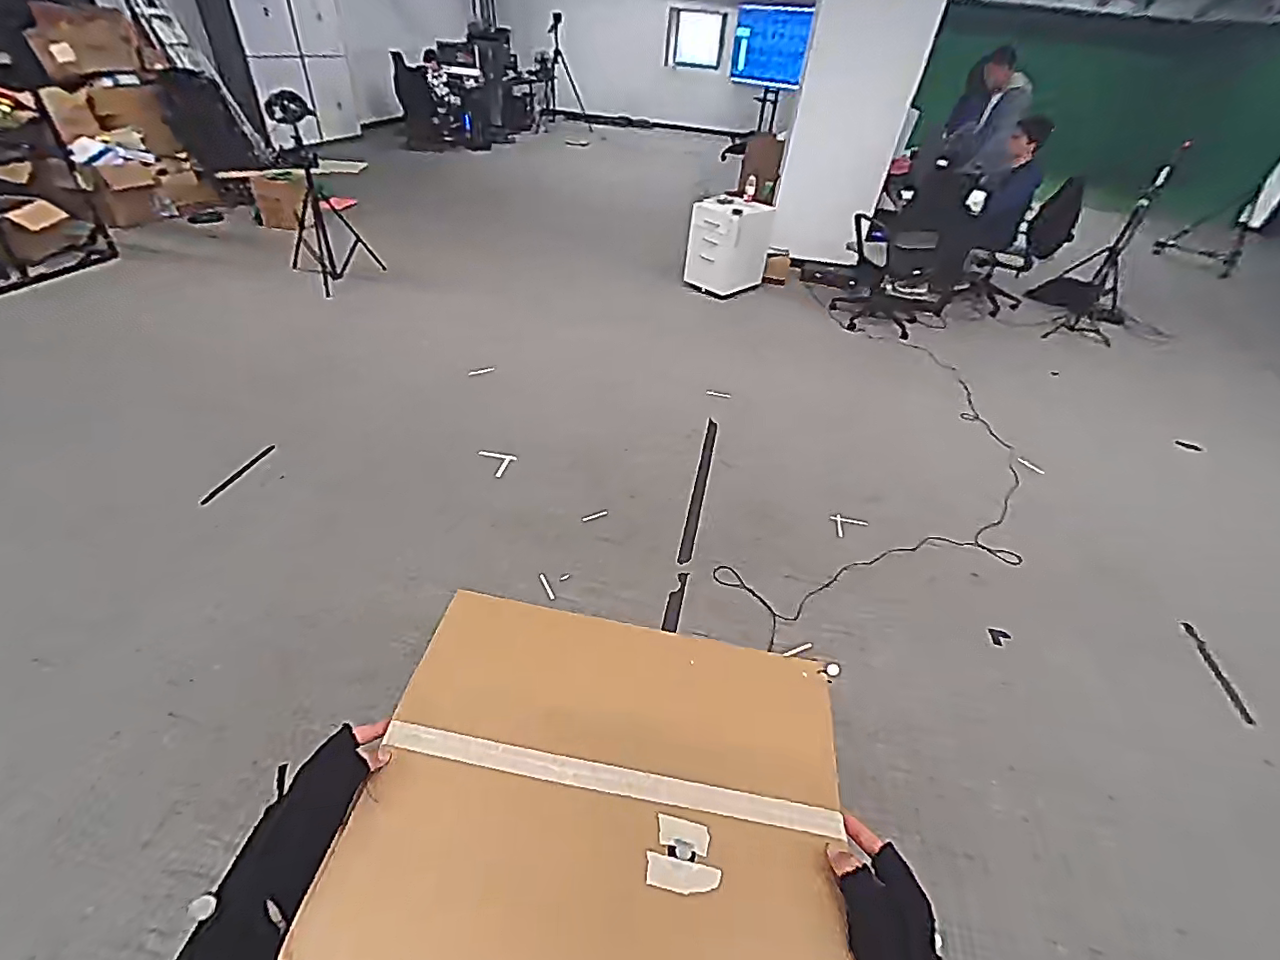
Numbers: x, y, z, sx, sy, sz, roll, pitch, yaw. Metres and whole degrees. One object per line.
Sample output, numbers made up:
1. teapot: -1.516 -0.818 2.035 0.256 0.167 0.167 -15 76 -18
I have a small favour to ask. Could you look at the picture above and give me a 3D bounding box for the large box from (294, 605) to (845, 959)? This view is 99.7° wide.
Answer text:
1. large box: -0.046 0.380 0.576 0.408 0.320 0.320 12 43 2
